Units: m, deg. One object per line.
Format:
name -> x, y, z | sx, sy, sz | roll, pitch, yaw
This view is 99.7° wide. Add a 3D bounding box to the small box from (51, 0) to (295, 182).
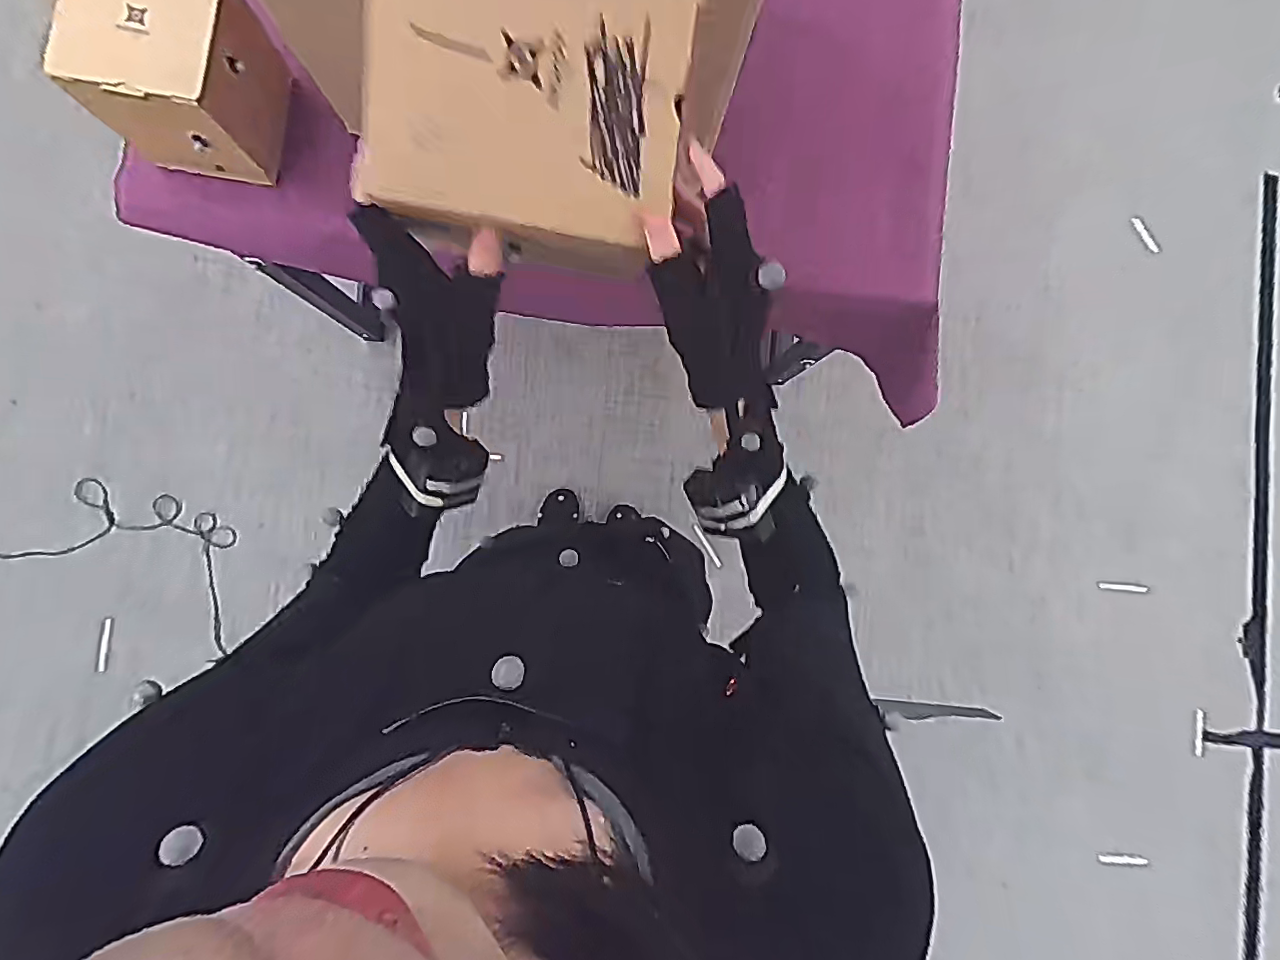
small box -> -0.583, -0.526, 0.703 | 0.168, 0.176, 0.179 | 8, 85, -7
